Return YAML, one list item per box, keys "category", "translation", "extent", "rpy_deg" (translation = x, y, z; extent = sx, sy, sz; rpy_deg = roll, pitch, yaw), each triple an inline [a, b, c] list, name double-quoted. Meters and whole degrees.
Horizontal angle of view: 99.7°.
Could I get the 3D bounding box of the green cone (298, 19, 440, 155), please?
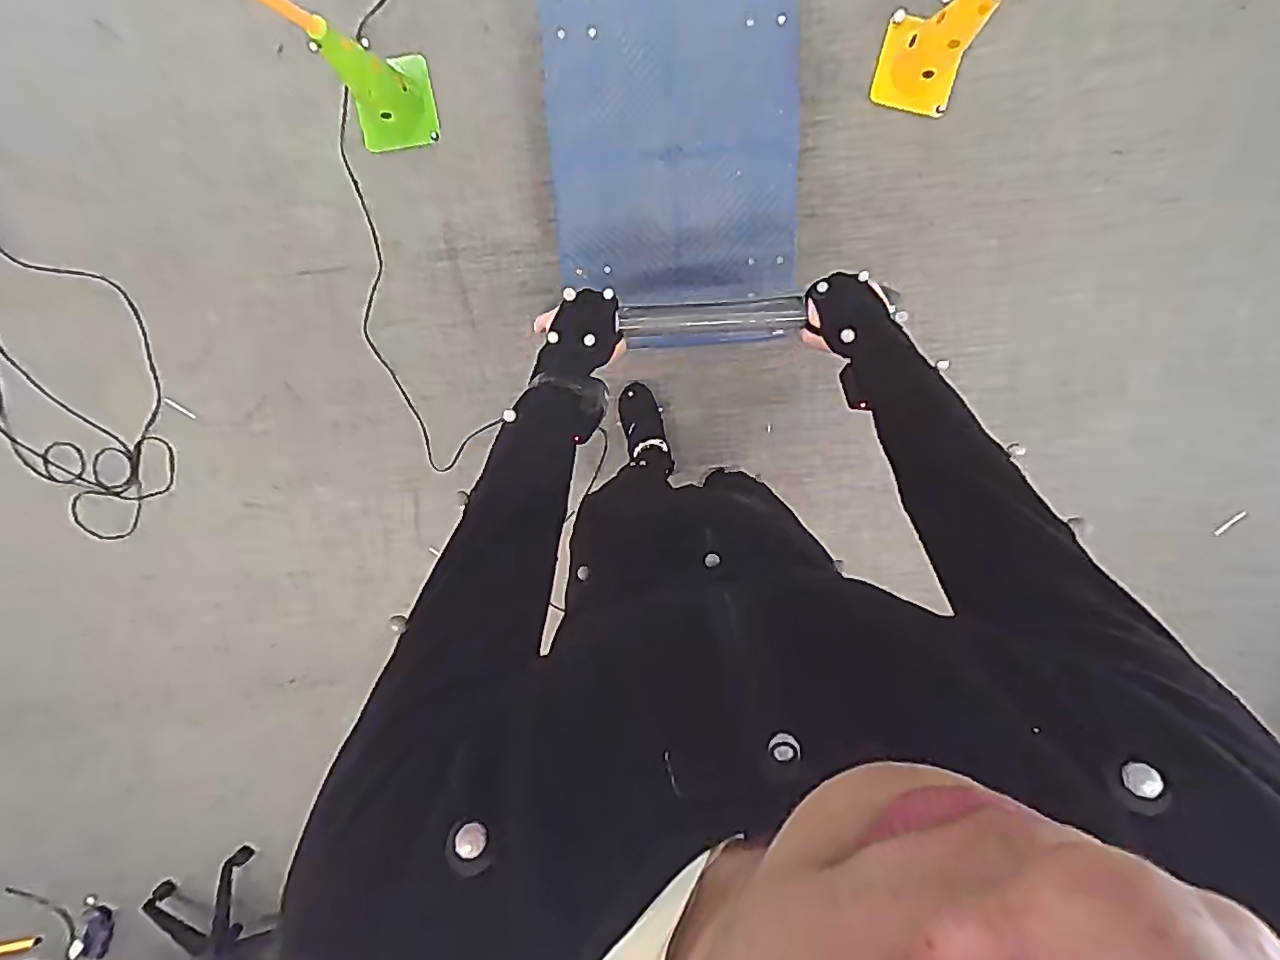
- category: "green cone"
  translation: [-0.633, -0.919, 1.221]
  extent: [0.202, 0.368, 0.200]
  rpy_deg: [-8, 103, 4]
